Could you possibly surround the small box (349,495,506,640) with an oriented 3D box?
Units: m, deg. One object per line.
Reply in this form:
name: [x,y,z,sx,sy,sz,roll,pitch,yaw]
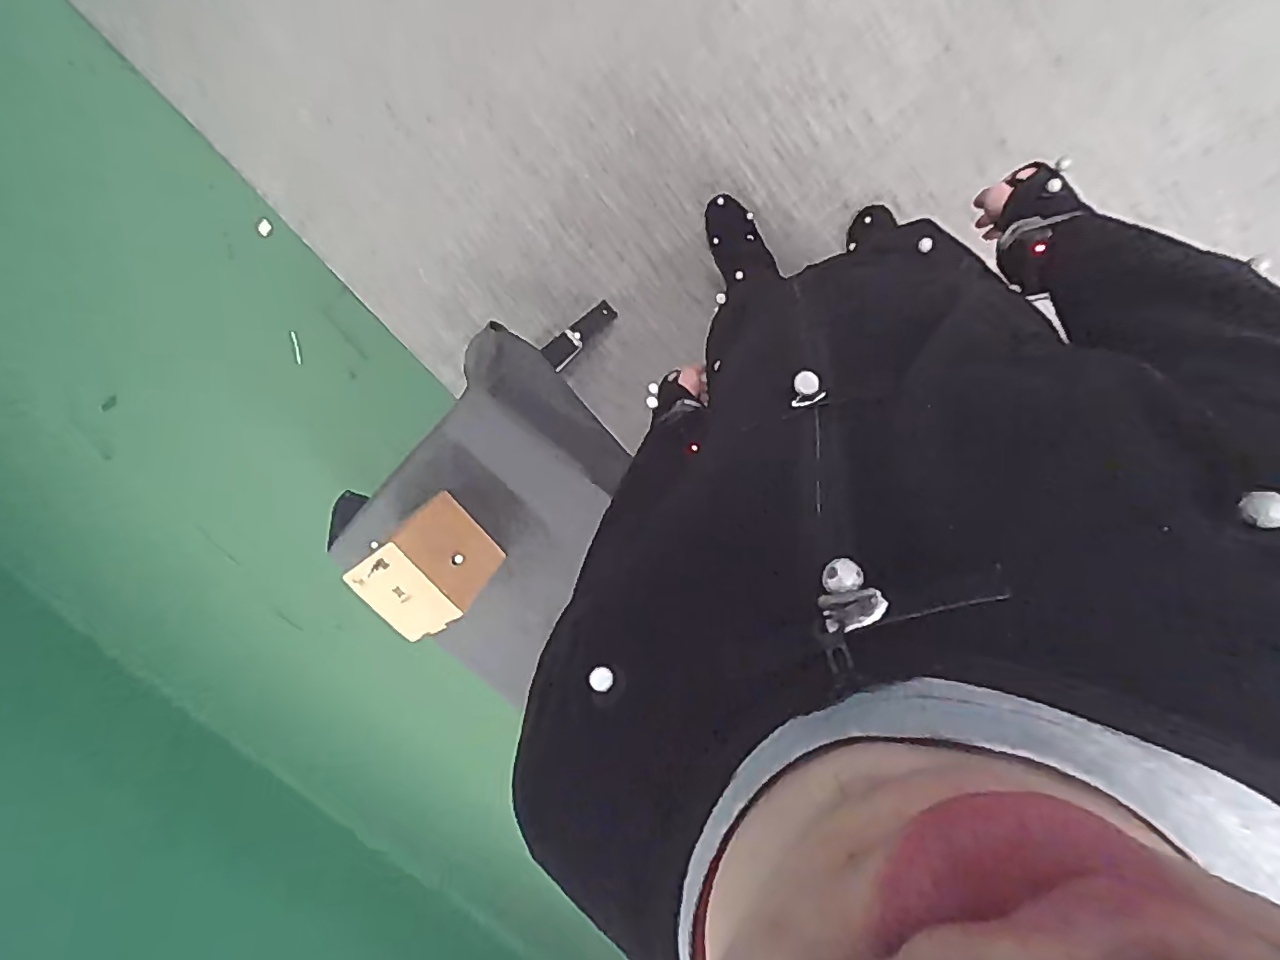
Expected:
small box: [-0.385,0.161,1.010,0.168,0.176,0.179,-30,109,28]
